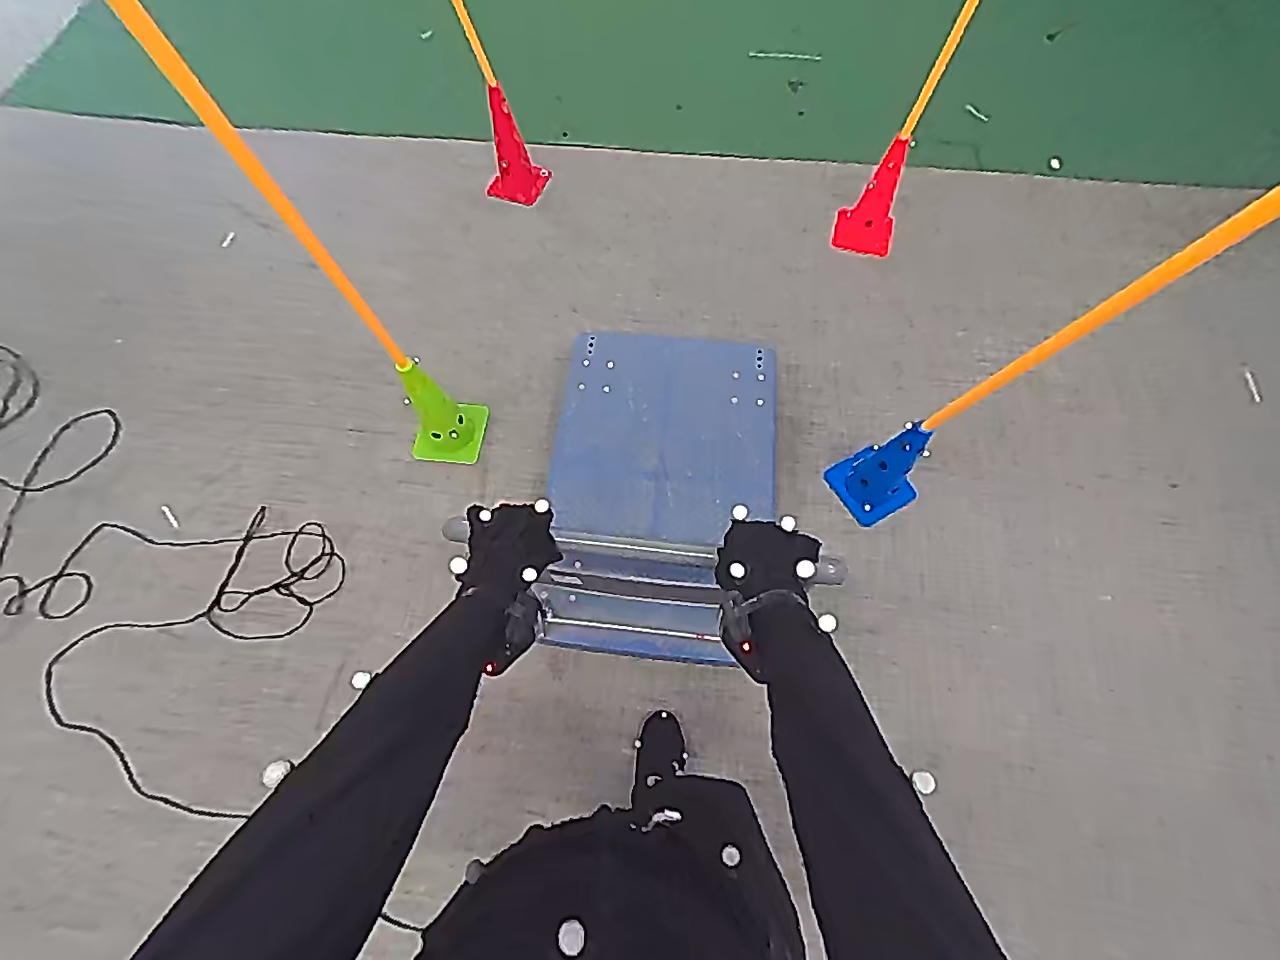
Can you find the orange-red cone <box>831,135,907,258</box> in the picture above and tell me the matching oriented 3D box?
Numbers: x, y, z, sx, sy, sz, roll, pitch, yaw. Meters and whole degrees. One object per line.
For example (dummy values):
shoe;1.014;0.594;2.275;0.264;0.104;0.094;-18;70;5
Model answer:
orange-red cone;0.784;-0.941;1.762;0.198;0.360;0.199;16;69;9
